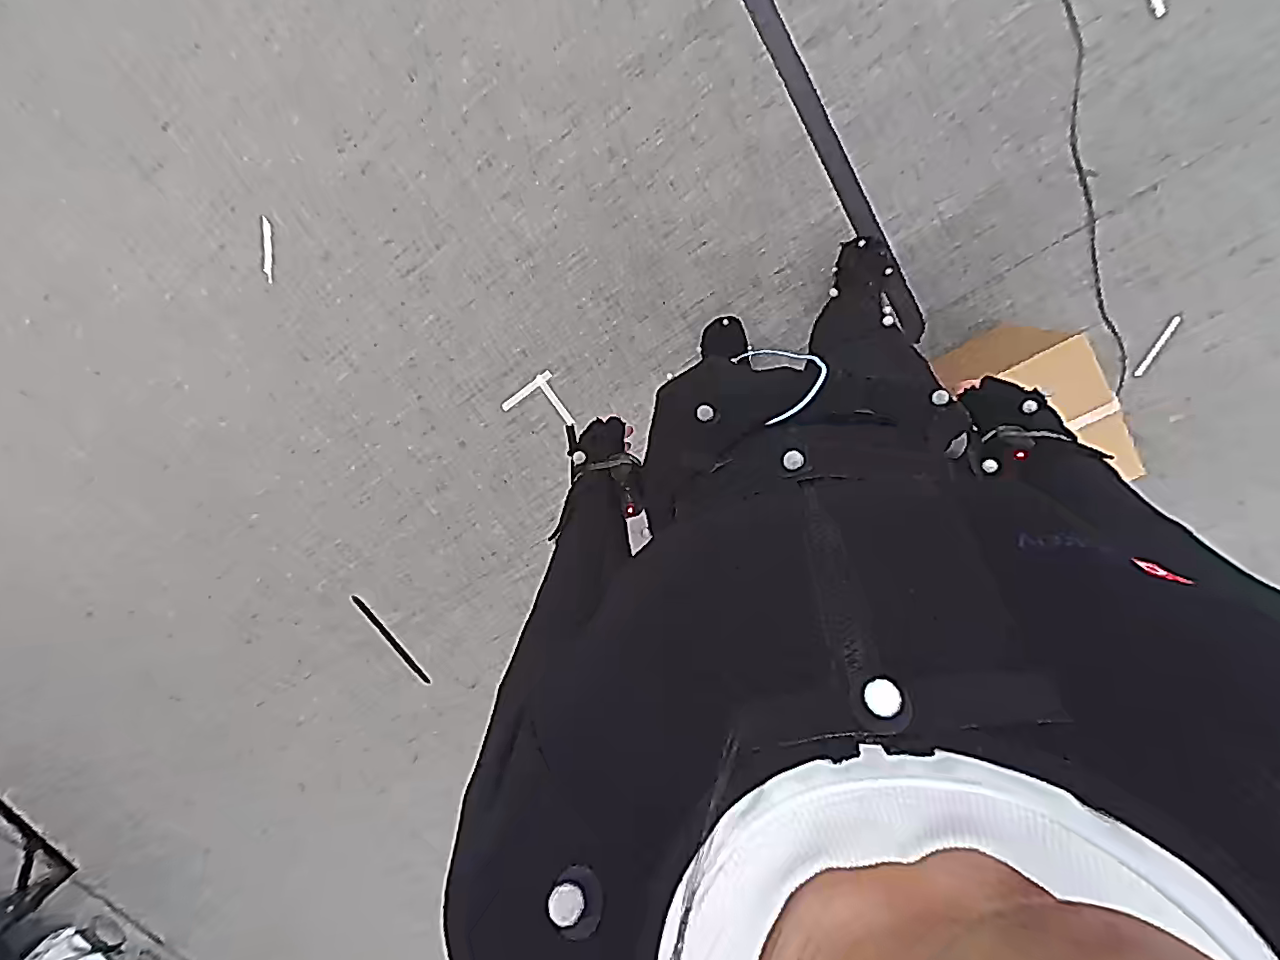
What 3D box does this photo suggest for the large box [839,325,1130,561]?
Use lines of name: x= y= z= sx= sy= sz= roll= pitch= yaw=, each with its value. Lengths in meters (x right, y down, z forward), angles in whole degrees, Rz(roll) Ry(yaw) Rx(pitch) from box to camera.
large box: x=0.717 y=-0.094 z=1.196 sx=0.408 sy=0.320 sz=0.320 roll=-29 pitch=101 yaw=19
